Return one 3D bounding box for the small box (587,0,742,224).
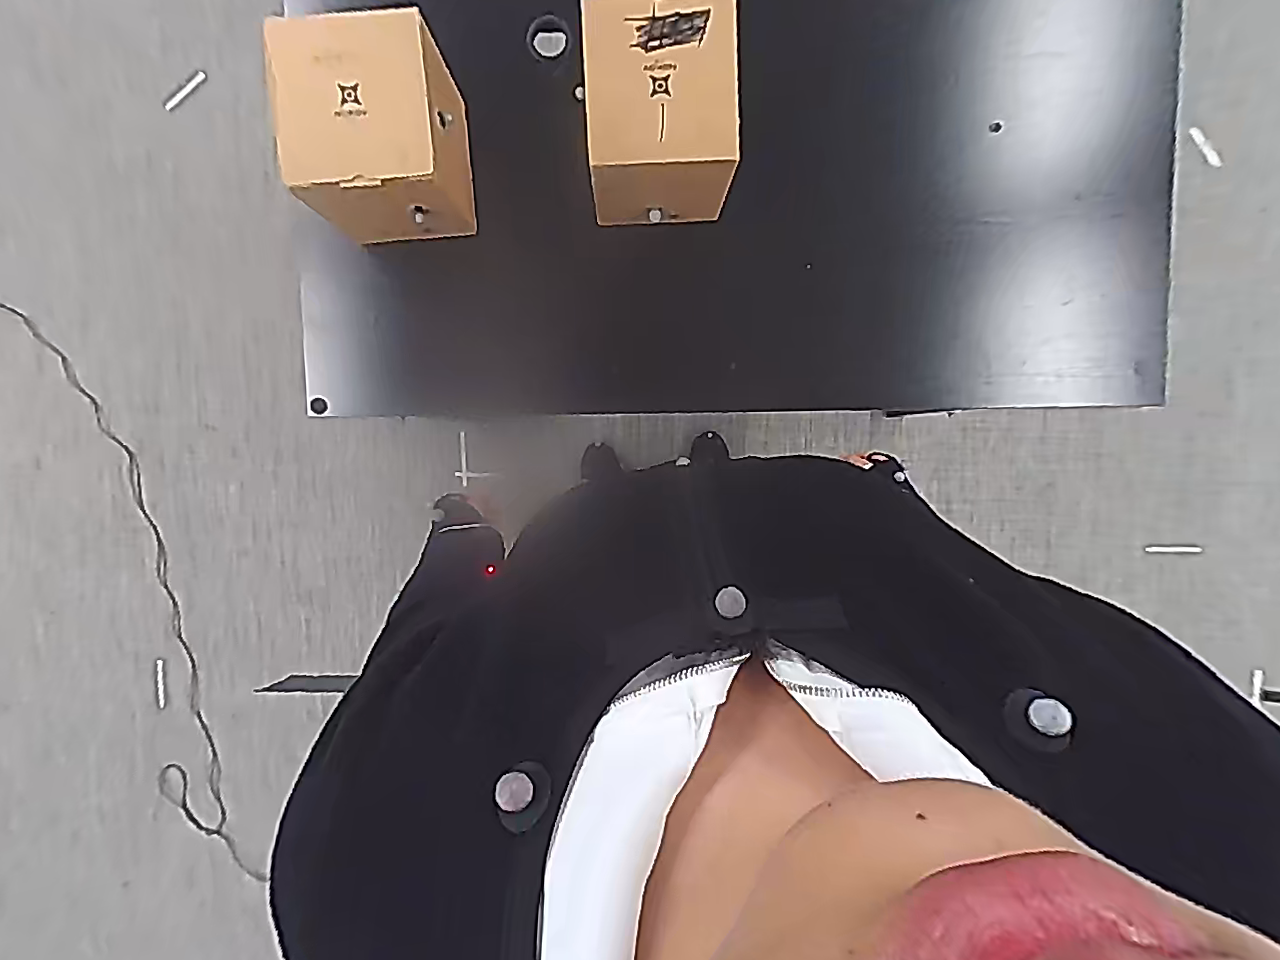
[{"bbox_3d":[0.025,-0.431,0.650,0.168,0.176,0.179,-2,95,0],"label":"small box"}]

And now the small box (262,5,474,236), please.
[{"bbox_3d":[-0.307,-0.409,0.648,0.168,0.176,0.179,-5,93,-2],"label":"small box"}]
